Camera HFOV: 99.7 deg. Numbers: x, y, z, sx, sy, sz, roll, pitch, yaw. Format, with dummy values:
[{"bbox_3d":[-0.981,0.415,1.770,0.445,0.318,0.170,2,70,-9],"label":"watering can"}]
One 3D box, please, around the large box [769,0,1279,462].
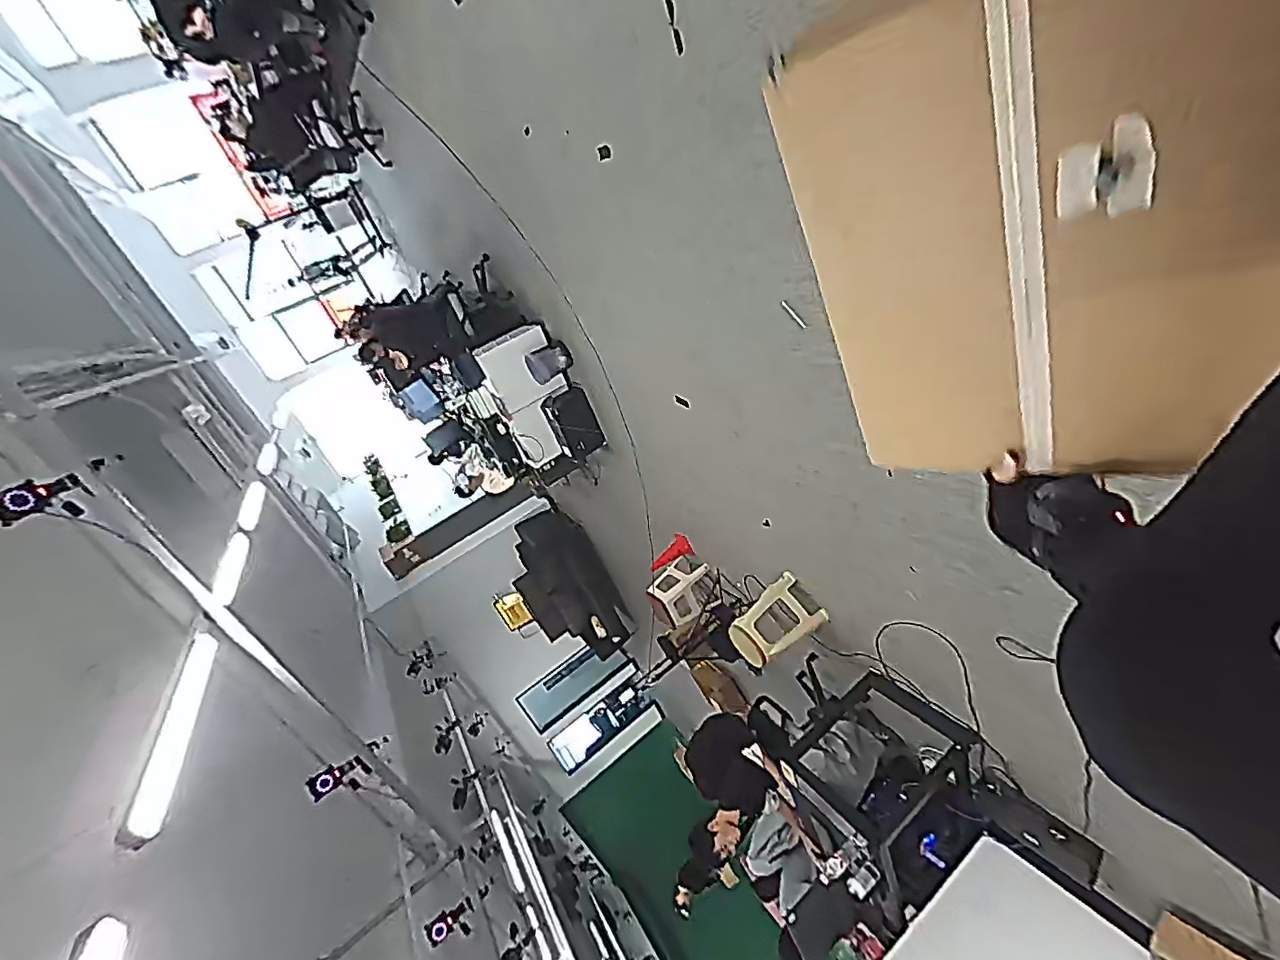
[{"bbox_3d":[0.378,-0.265,0.491,0.320,0.320,0.408,2,134,43],"label":"large box"}]
